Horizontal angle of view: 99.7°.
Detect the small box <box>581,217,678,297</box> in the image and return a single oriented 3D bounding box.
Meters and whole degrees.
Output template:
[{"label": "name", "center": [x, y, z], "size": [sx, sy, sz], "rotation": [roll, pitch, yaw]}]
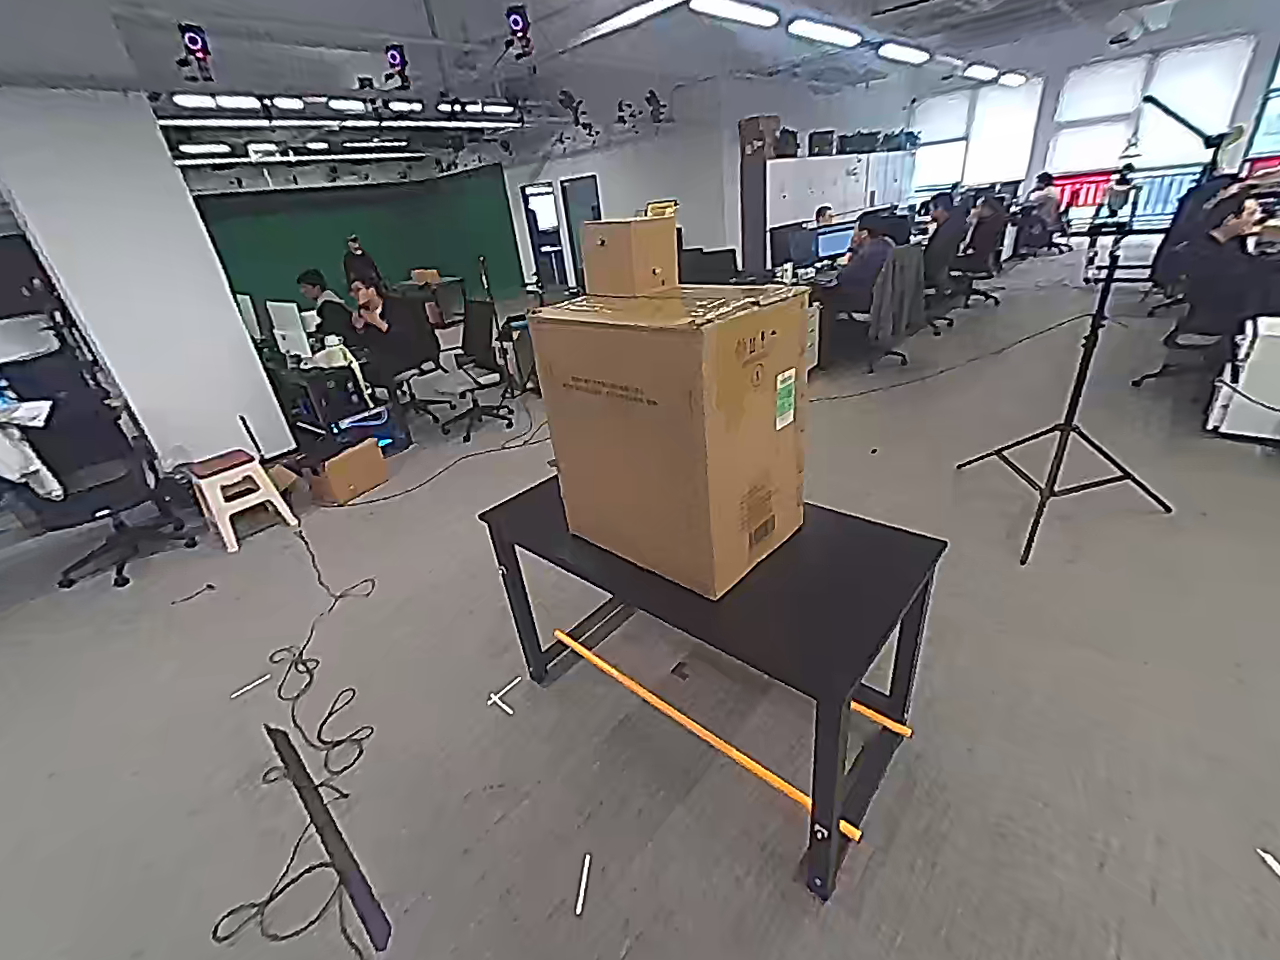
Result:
[{"label": "small box", "center": [-0.023, -0.553, 1.344], "size": [0.179, 0.176, 0.168], "rotation": [20, 36, 39]}]
